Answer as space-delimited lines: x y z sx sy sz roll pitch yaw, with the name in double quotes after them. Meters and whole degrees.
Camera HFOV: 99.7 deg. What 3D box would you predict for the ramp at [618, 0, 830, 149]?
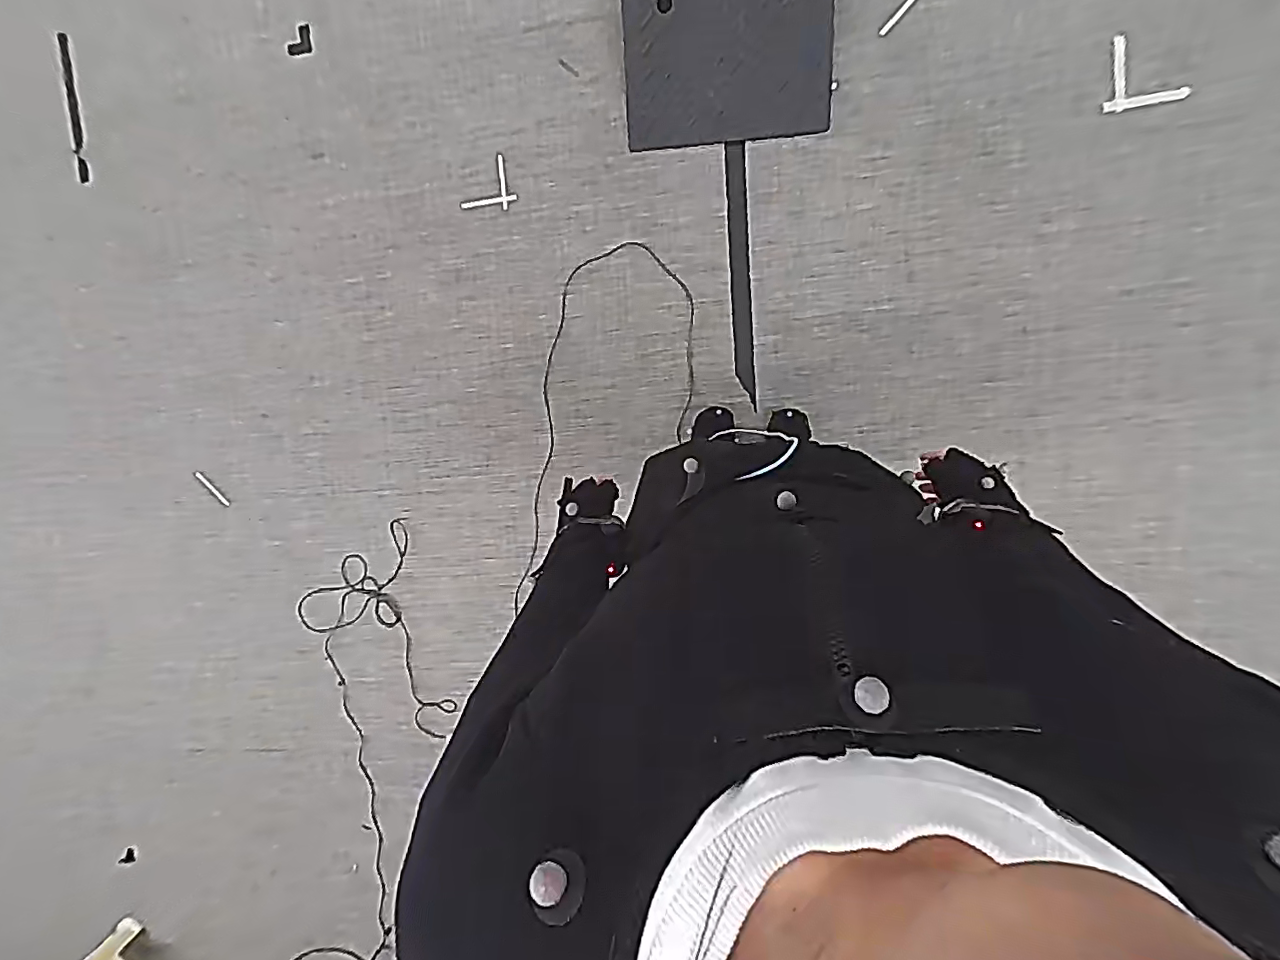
0.178 -1.318 1.190 0.509 0.206 0.991 -3 97 7 "ramp"
